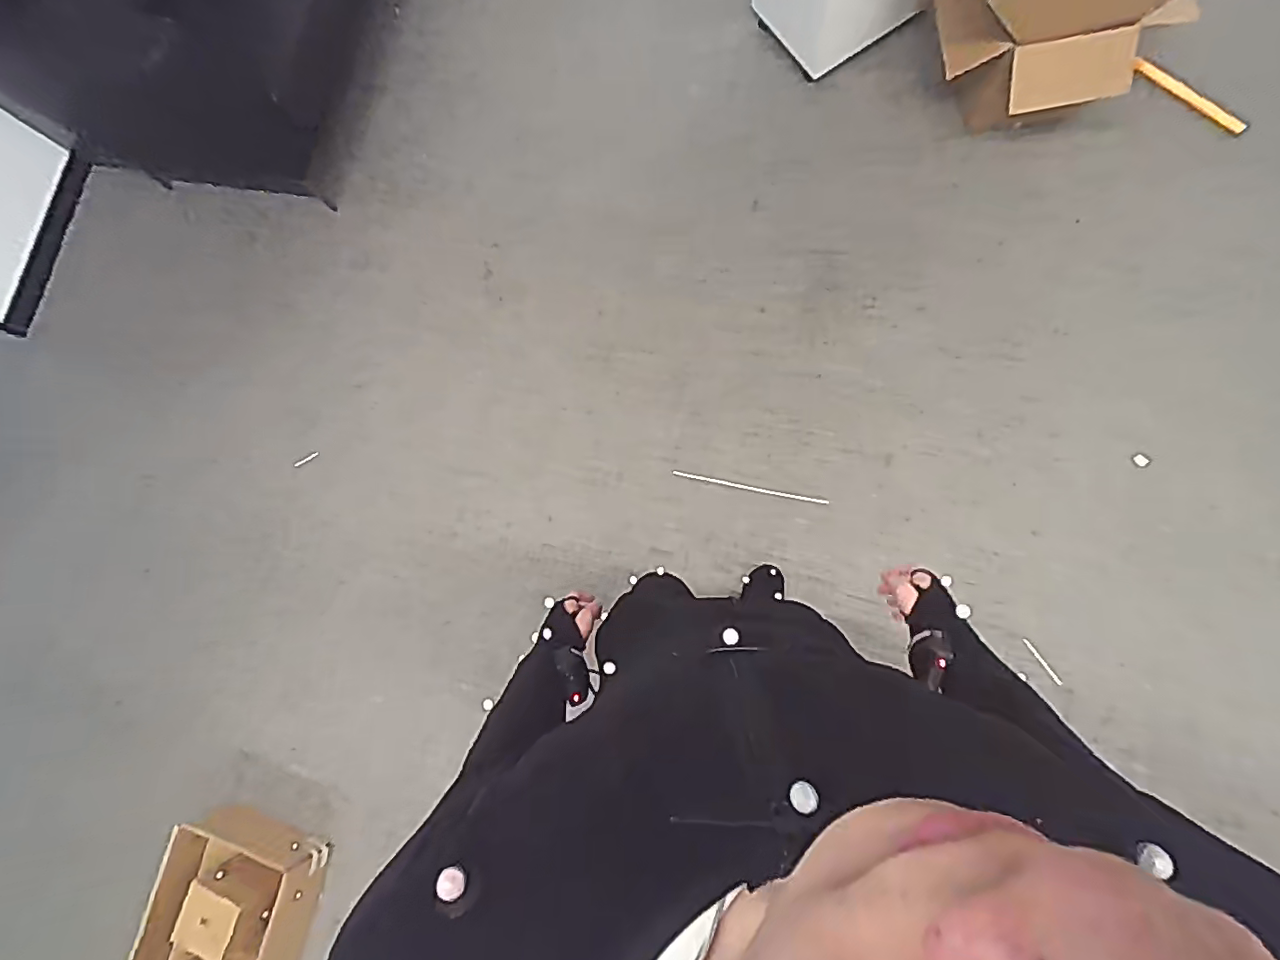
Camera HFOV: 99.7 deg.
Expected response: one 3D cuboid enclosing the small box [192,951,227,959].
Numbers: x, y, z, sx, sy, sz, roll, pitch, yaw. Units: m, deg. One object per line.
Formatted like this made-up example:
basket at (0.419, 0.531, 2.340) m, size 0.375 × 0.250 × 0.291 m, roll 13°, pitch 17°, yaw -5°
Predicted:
small box at (-1.270, 1.498, 1.531) m, size 0.179 × 0.176 × 0.168 m, roll 16°, pitch 83°, yaw 12°
